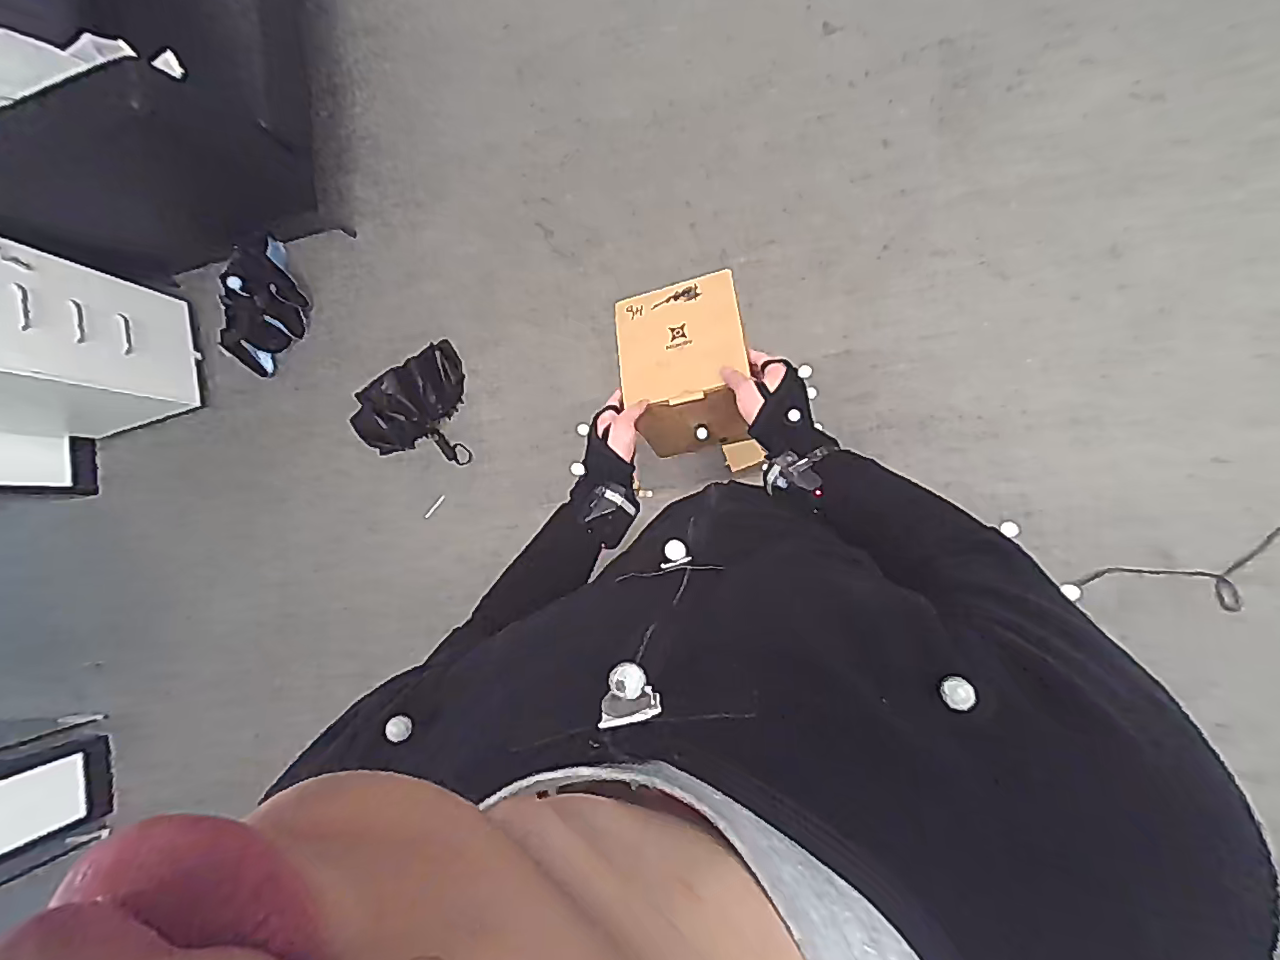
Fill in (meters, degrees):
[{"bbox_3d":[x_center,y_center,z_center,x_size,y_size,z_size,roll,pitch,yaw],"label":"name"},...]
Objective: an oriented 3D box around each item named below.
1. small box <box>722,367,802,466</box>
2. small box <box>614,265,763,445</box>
[{"bbox_3d":[0.272,-0.141,1.280,0.168,0.176,0.179,-21,85,13],"label":"small box"},{"bbox_3d":[0.073,-0.161,0.767,0.168,0.176,0.179,-11,69,17],"label":"small box"}]
